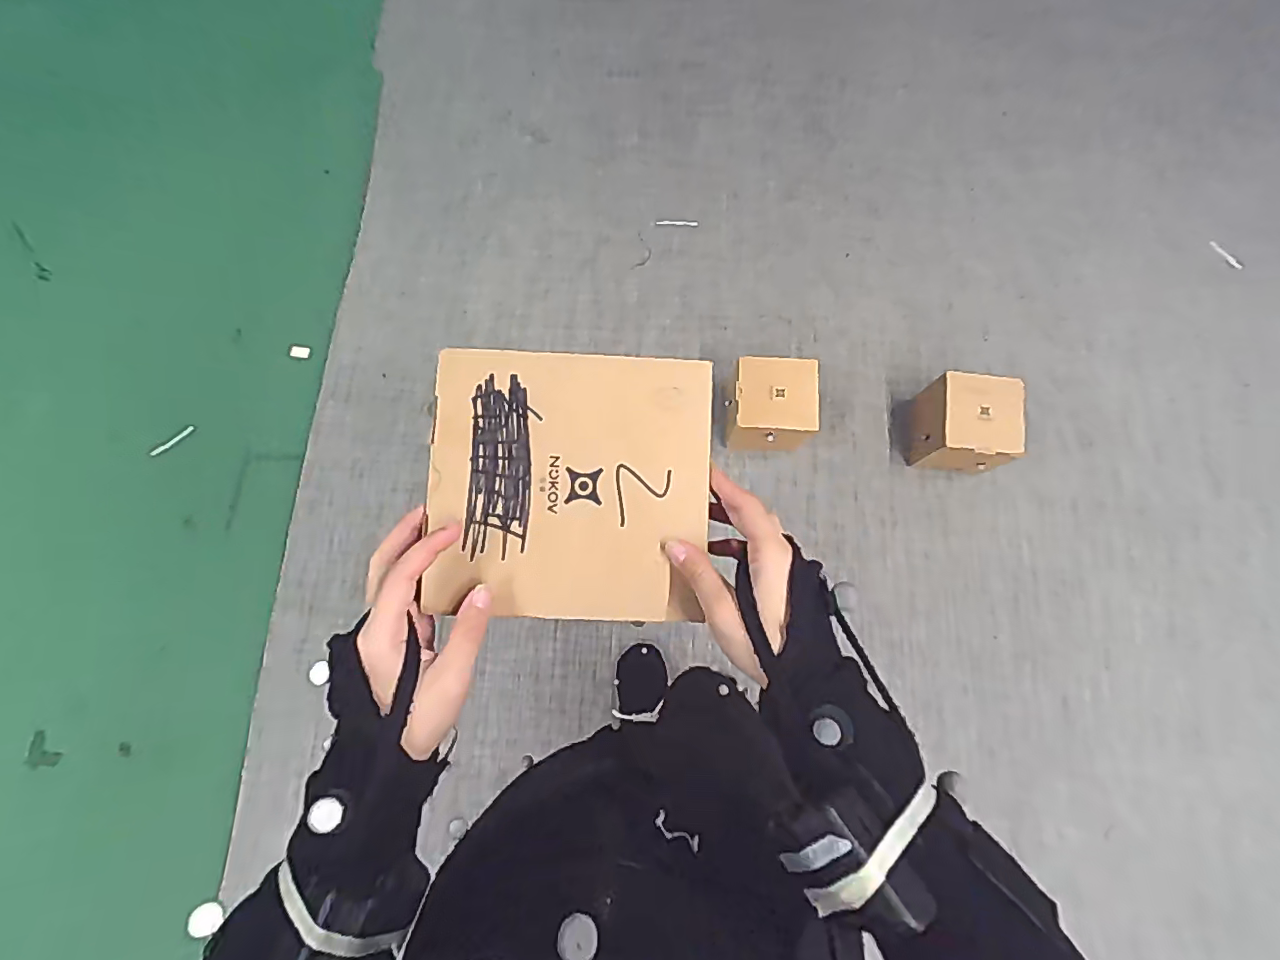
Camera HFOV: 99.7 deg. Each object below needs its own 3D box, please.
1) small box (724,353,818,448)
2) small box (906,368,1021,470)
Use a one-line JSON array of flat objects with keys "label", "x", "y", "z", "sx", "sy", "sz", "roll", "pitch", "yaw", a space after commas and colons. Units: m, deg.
[{"label": "small box", "x": 0.295, "y": -0.176, "z": 1.239, "sx": 0.179, "sy": 0.176, "sz": 0.168, "roll": 3, "pitch": 77, "yaw": 2}, {"label": "small box", "x": 0.723, "y": -0.129, "z": 1.222, "sx": 0.168, "sy": 0.176, "sz": 0.179, "roll": 8, "pitch": 76, "yaw": 1}]
